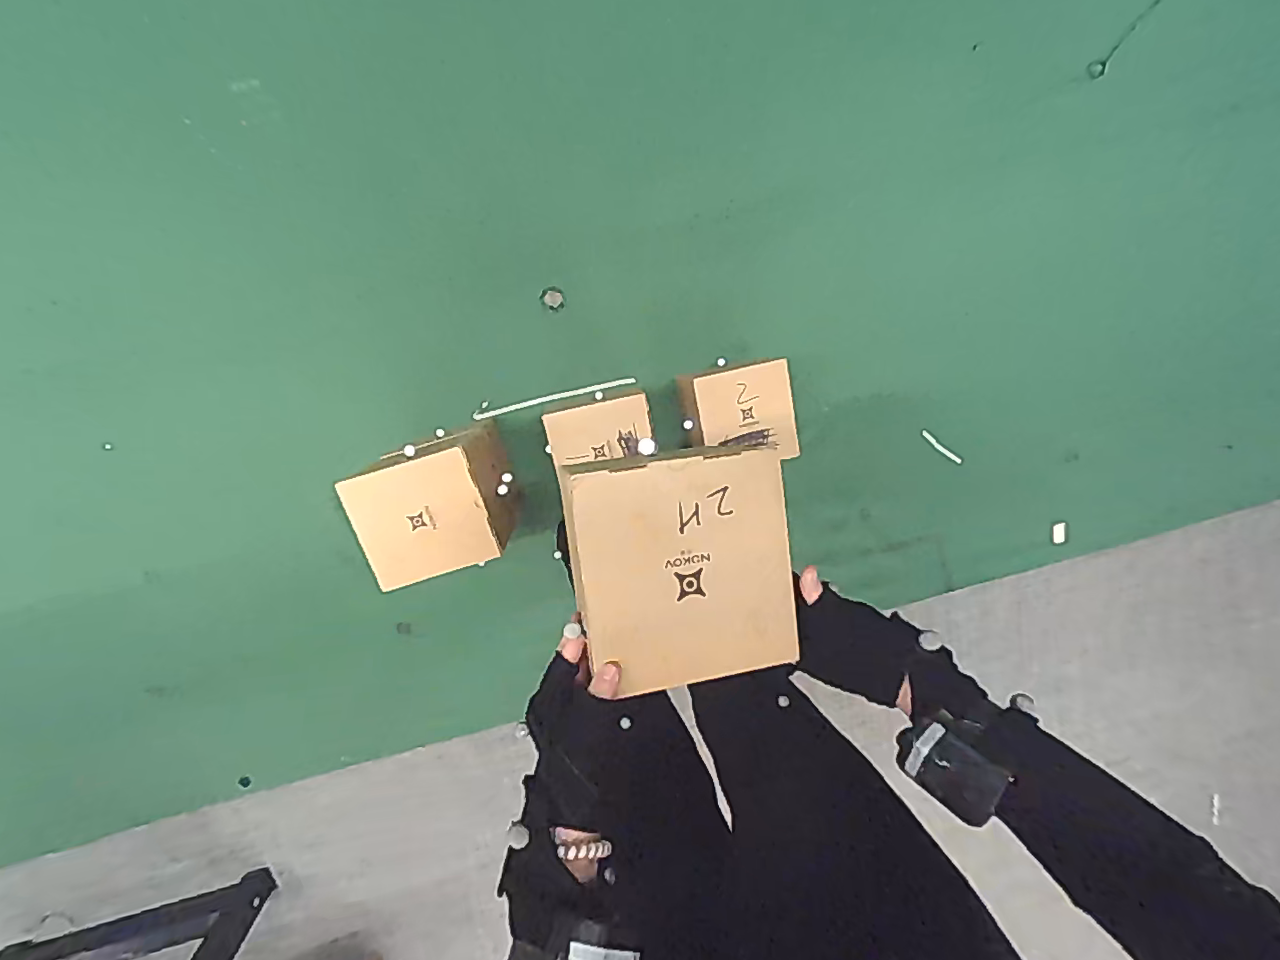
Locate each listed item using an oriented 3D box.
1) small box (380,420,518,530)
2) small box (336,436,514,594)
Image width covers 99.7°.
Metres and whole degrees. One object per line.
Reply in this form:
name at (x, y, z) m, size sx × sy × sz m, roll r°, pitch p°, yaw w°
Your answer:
small box at (-0.325, 0.006, 0.962) m, size 0.168 × 0.176 × 0.179 m, roll -16°, pitch 106°, yaw -3°
small box at (-0.304, 0.042, 0.805) m, size 0.179 × 0.176 × 0.168 m, roll -17°, pitch 104°, yaw -2°
